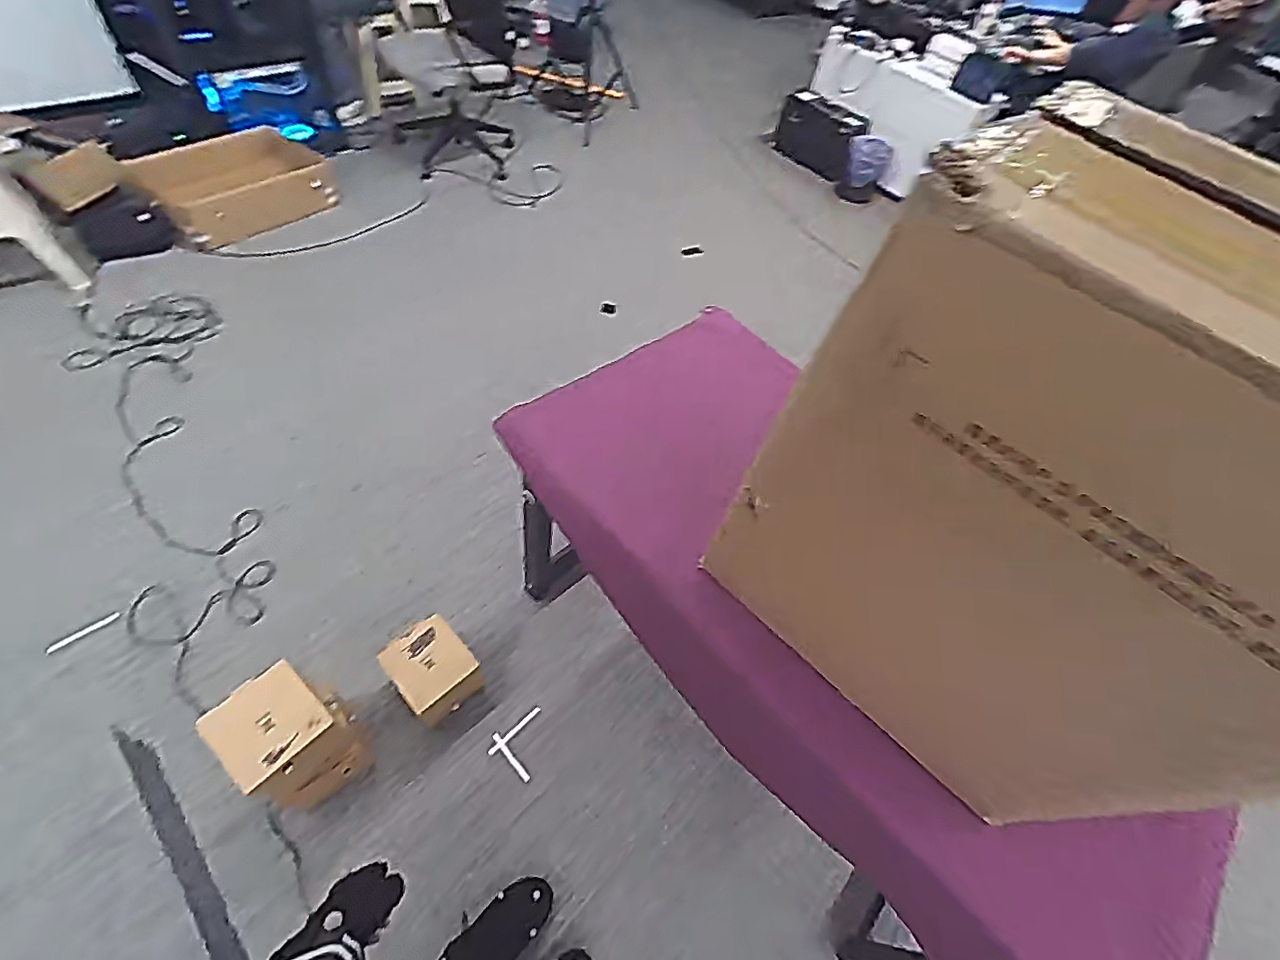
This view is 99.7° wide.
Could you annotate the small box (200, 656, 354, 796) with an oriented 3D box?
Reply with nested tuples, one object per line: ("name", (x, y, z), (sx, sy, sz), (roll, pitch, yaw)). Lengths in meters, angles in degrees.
("small box", (-0.700, 0.487, 1.061), (0.179, 0.176, 0.168), (39, 56, 17))

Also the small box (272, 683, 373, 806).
("small box", (-0.715, 0.587, 1.190), (0.168, 0.176, 0.179), (-29, 63, -29))

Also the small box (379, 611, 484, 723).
("small box", (-0.502, 0.462, 1.321), (0.168, 0.176, 0.179), (-36, 70, -30))
